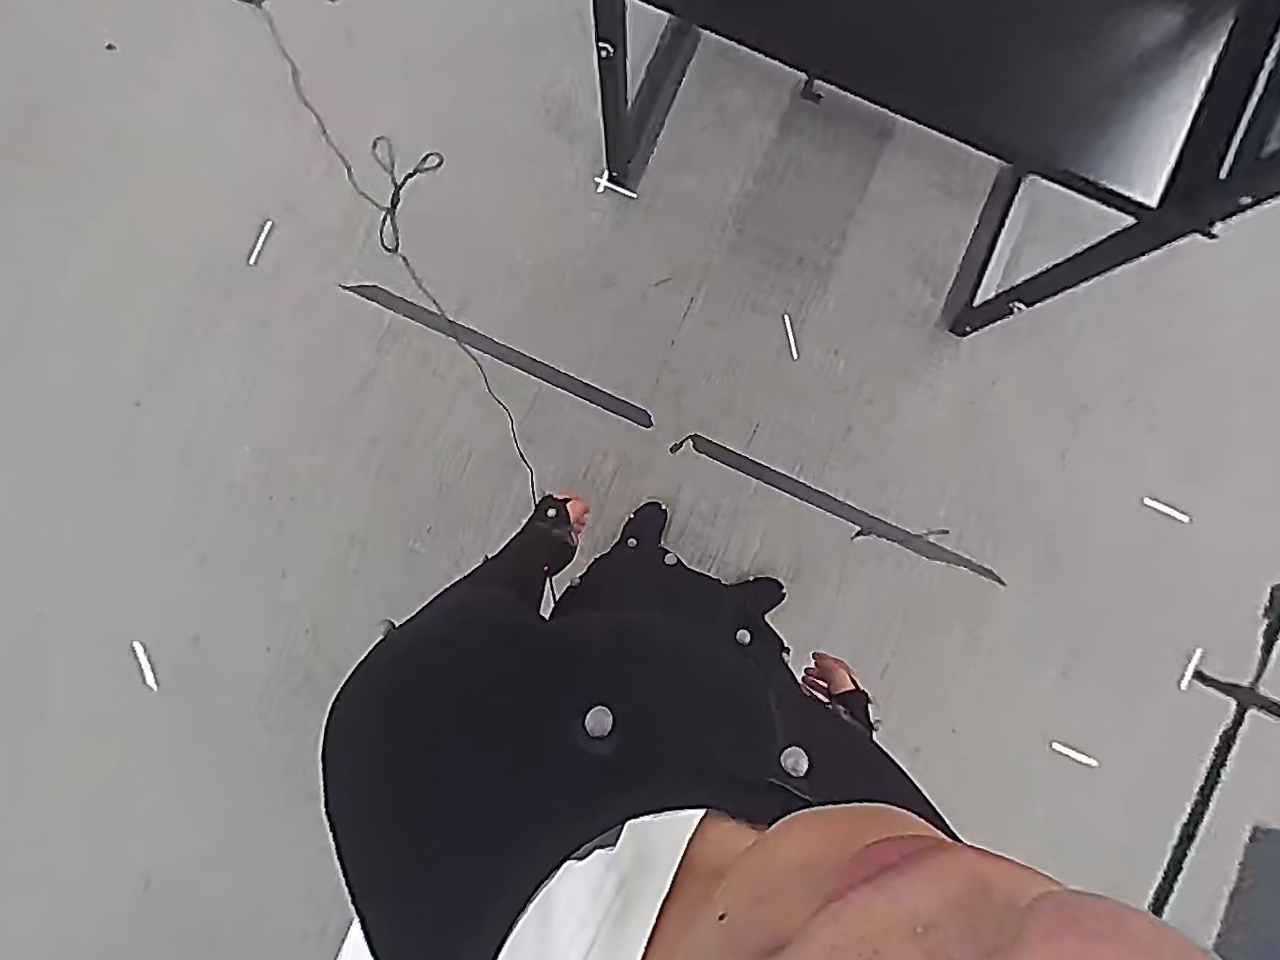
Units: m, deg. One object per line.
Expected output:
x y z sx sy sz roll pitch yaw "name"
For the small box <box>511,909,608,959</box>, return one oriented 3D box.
-0.164 0.942 0.982 0.168 0.176 0.179 24 91 0 "small box"
